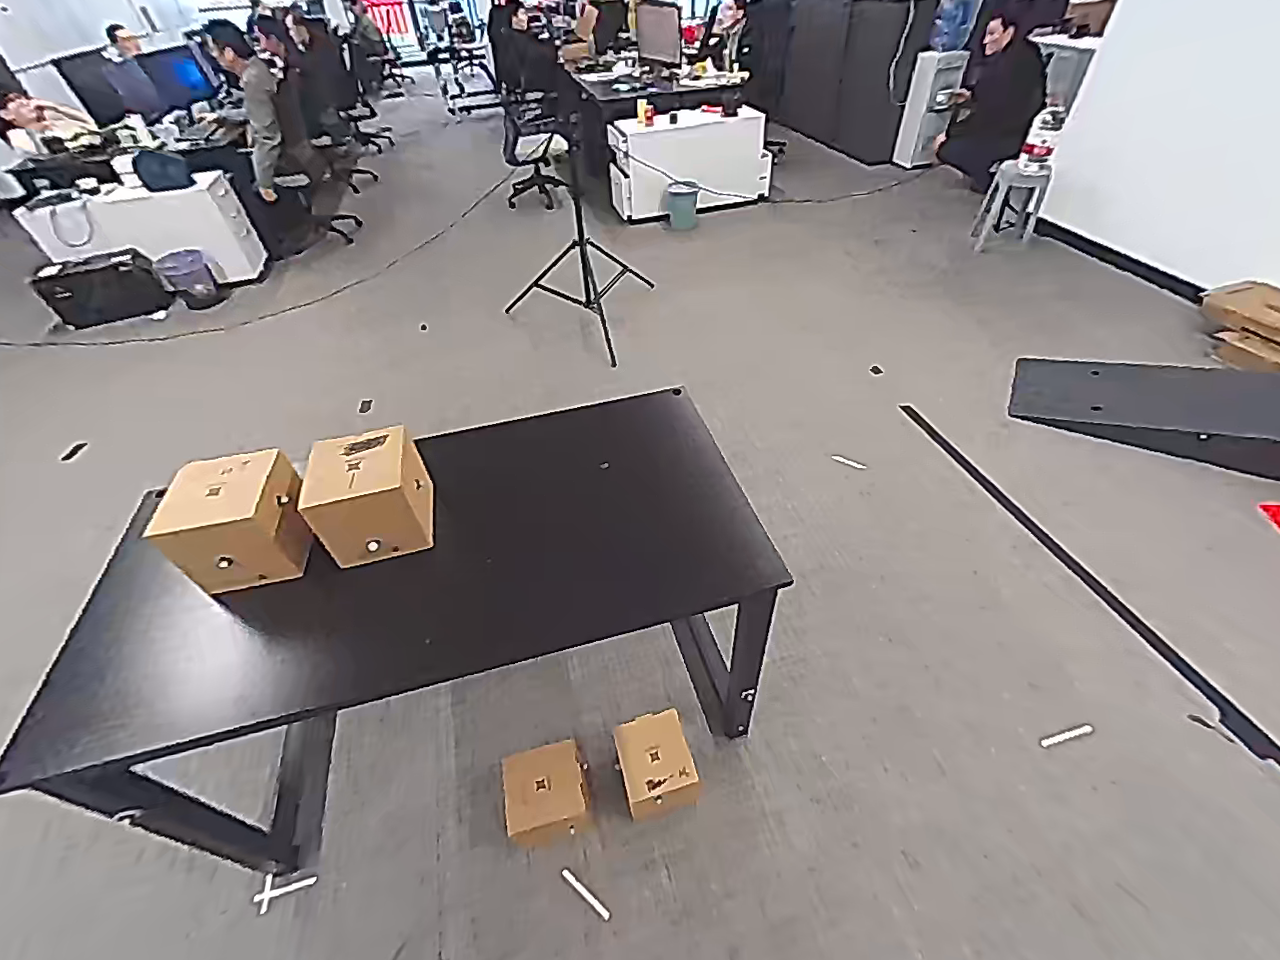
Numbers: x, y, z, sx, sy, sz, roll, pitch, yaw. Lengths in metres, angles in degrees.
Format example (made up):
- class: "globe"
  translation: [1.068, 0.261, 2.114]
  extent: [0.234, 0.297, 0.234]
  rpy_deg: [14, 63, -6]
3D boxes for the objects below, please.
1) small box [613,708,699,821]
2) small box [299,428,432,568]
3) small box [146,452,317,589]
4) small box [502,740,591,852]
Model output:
- class: "small box"
  translation: [0.037, 0.697, 1.325]
  extent: [0.168, 0.176, 0.179]
  rpy_deg: [-14, 45, -9]
- class: "small box"
  translation: [-0.495, 0.033, 1.002]
  extent: [0.168, 0.176, 0.179]
  rpy_deg: [-13, 47, -10]
- class: "small box"
  translation: [-0.712, 0.079, 0.973]
  extent: [0.168, 0.176, 0.179]
  rpy_deg: [-10, 45, -7]
- class: "small box"
  translation: [-0.218, 0.755, 1.291]
  extent: [0.179, 0.176, 0.168]
  rpy_deg: [-14, 45, -8]
